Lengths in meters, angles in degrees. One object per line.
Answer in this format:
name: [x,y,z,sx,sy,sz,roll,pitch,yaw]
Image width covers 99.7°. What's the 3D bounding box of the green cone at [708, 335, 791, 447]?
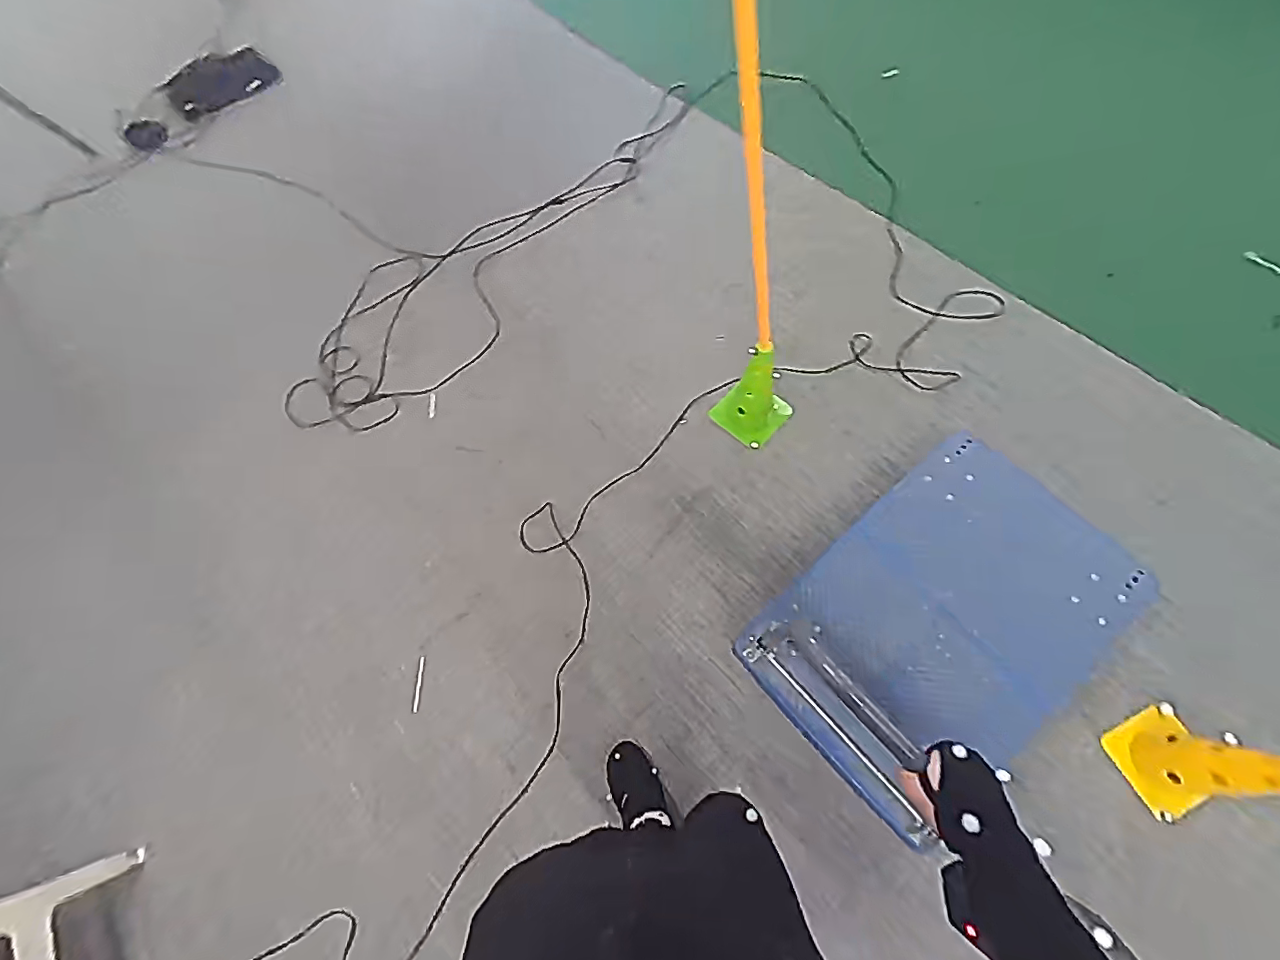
green cone: [0.329,-0.285,1.550,0.202,0.368,0.200,39,75,20]
